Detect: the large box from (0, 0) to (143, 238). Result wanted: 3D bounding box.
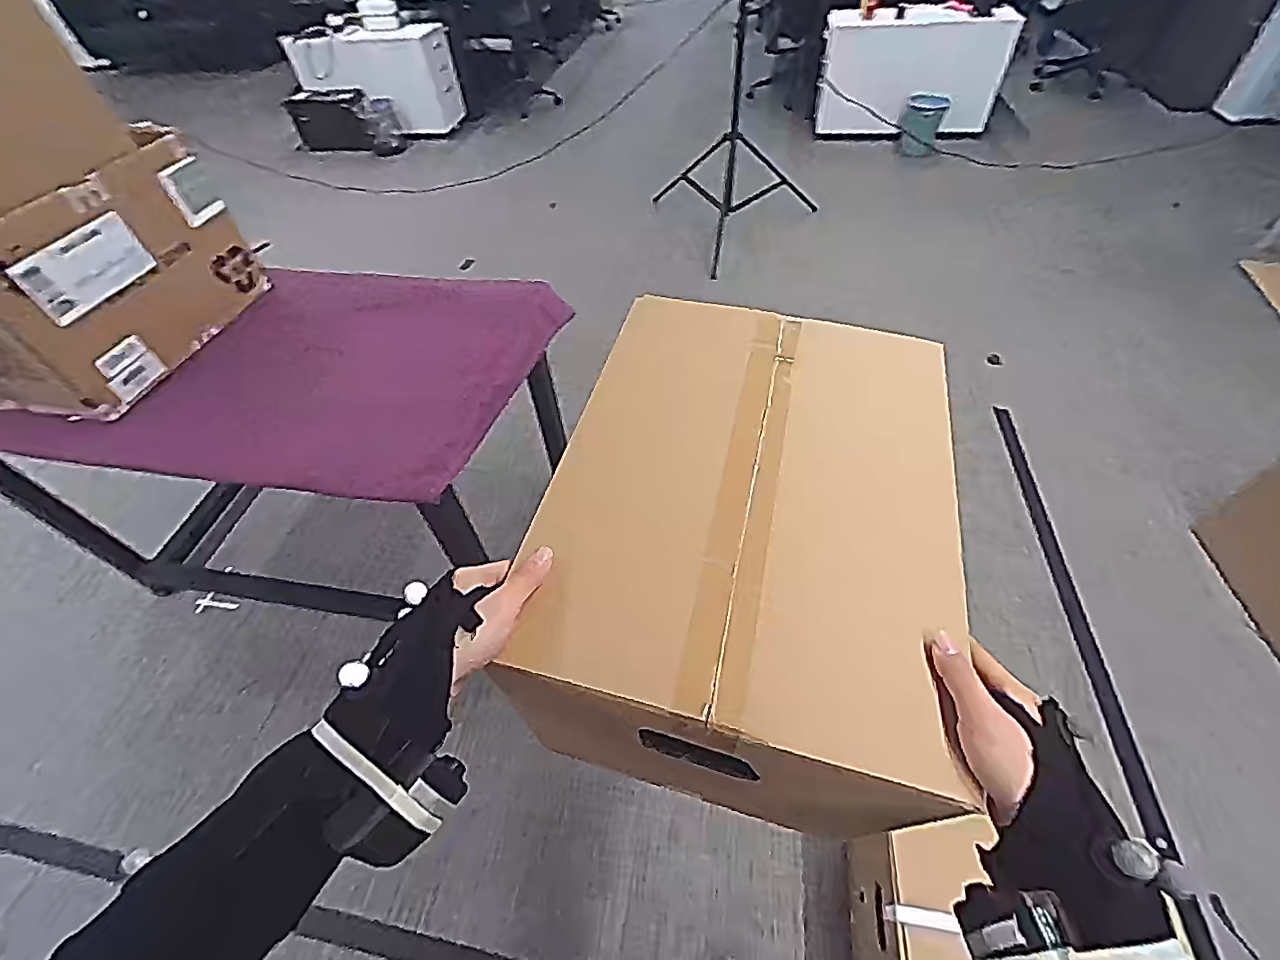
[{"bbox_3d":[-1.133,-0.581,0.825,0.320,0.320,0.408,5,51,10],"label":"large box"}]
